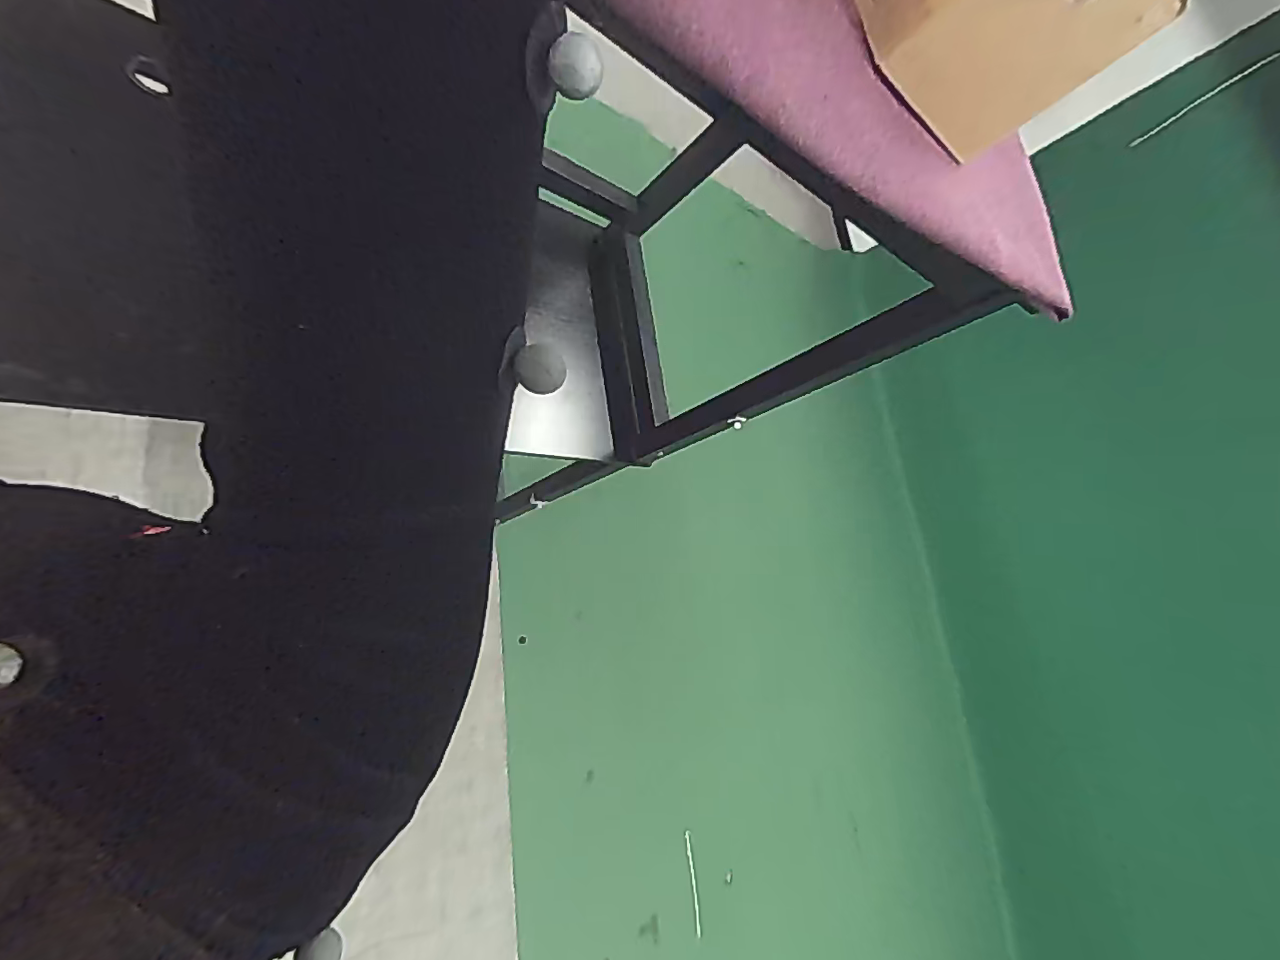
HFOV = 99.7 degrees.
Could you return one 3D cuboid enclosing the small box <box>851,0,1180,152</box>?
[{"bbox_3d":[0.283,-0.416,0.439,0.179,0.176,0.168,6,68,-41],"label":"small box"}]
